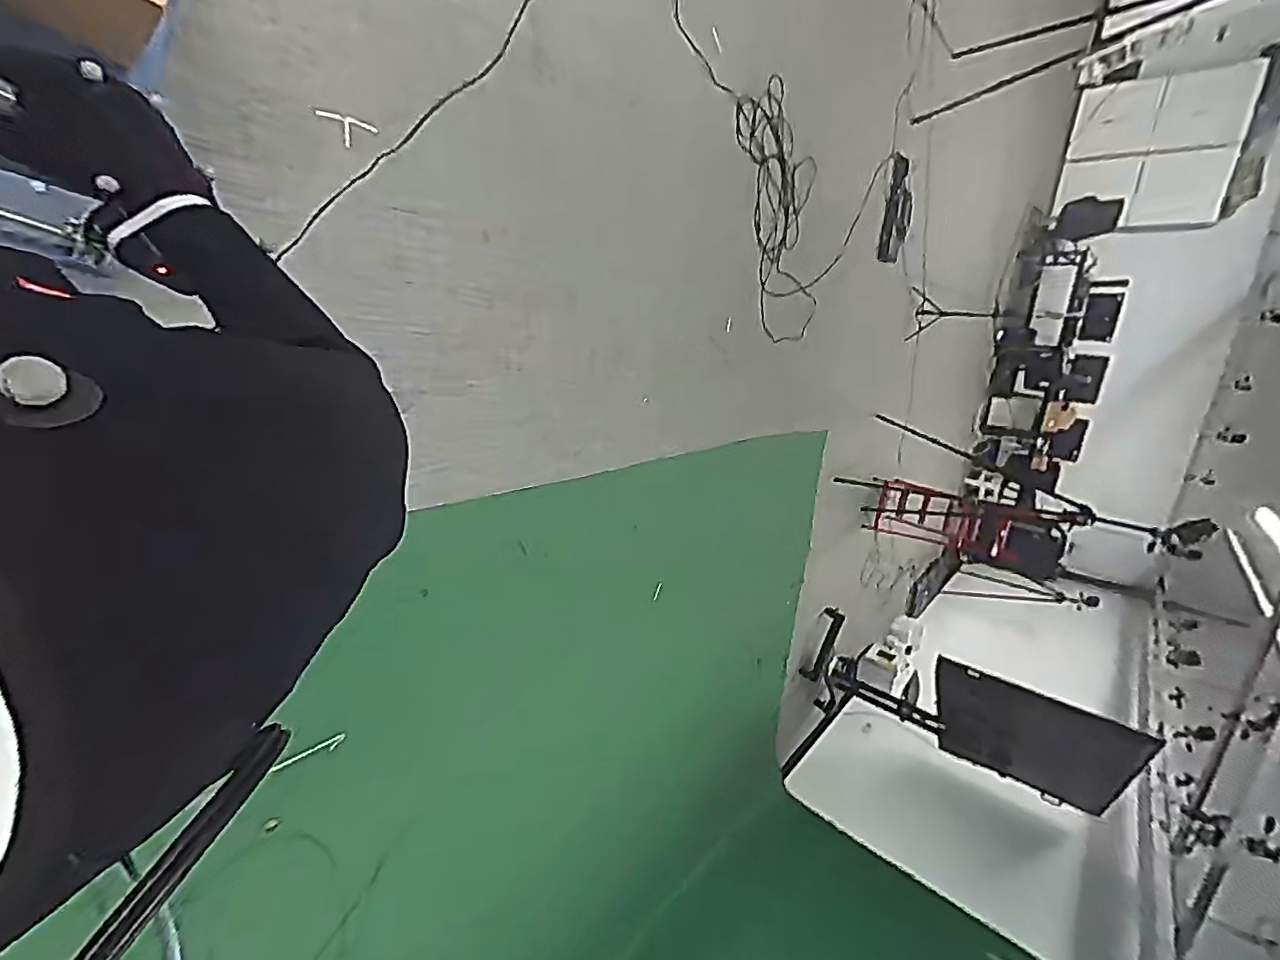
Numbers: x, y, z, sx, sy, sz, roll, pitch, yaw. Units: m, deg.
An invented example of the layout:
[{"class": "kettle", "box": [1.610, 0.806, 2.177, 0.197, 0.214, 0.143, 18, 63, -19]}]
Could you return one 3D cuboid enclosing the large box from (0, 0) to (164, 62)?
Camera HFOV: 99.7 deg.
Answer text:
[{"class": "large box", "box": [-0.818, -0.802, 0.628, 0.408, 0.320, 0.320, 7, 97, -49]}]
